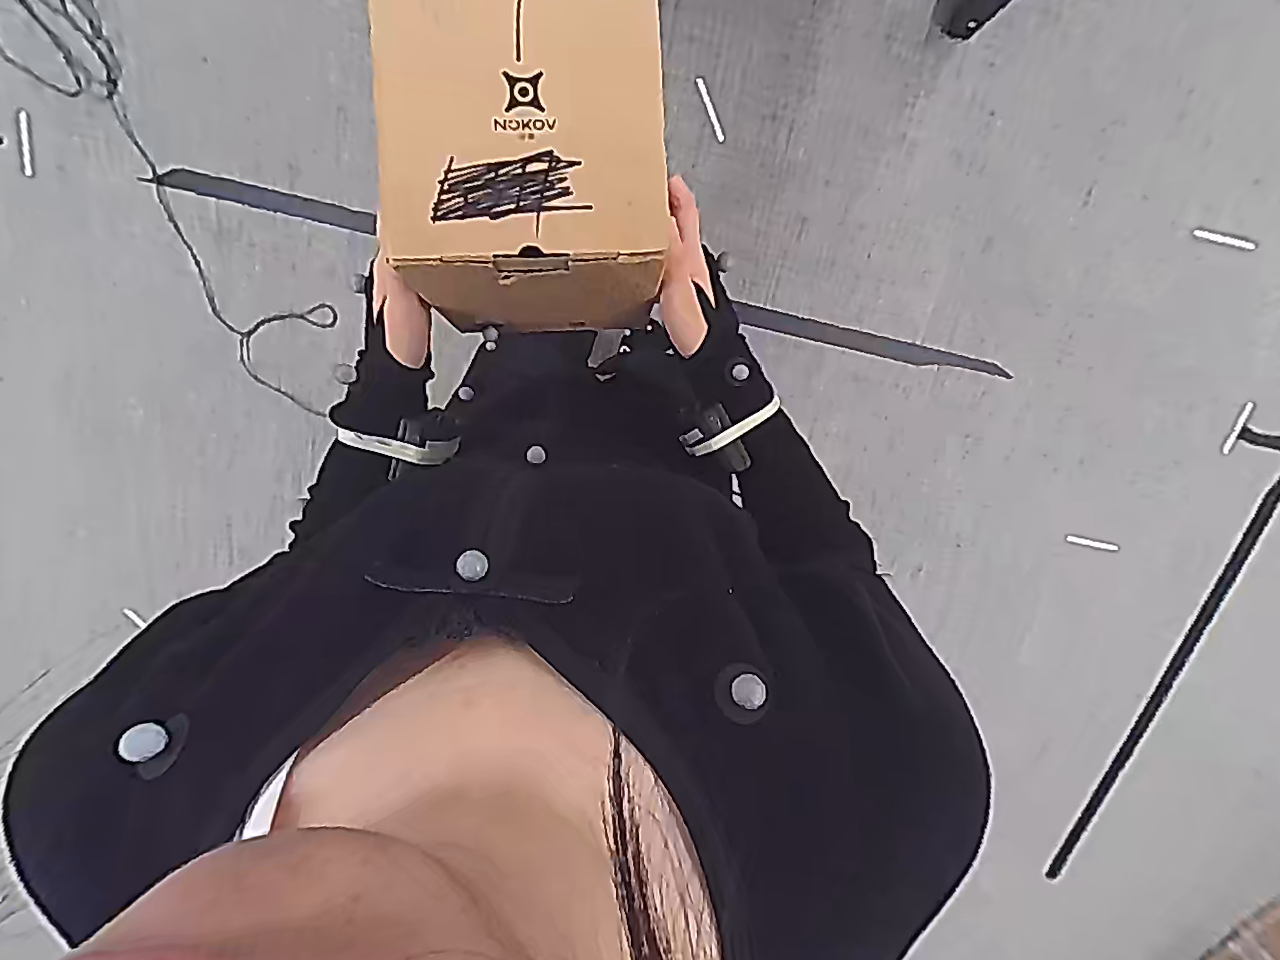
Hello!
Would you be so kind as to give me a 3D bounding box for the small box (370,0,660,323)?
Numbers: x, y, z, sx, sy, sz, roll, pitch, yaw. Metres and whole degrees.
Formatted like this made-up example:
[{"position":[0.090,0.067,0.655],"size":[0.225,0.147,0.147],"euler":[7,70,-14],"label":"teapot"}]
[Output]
[{"position":[-0.076,-0.220,0.395],"size":[0.168,0.176,0.179],"euler":[-3,91,-4],"label":"small box"}]
